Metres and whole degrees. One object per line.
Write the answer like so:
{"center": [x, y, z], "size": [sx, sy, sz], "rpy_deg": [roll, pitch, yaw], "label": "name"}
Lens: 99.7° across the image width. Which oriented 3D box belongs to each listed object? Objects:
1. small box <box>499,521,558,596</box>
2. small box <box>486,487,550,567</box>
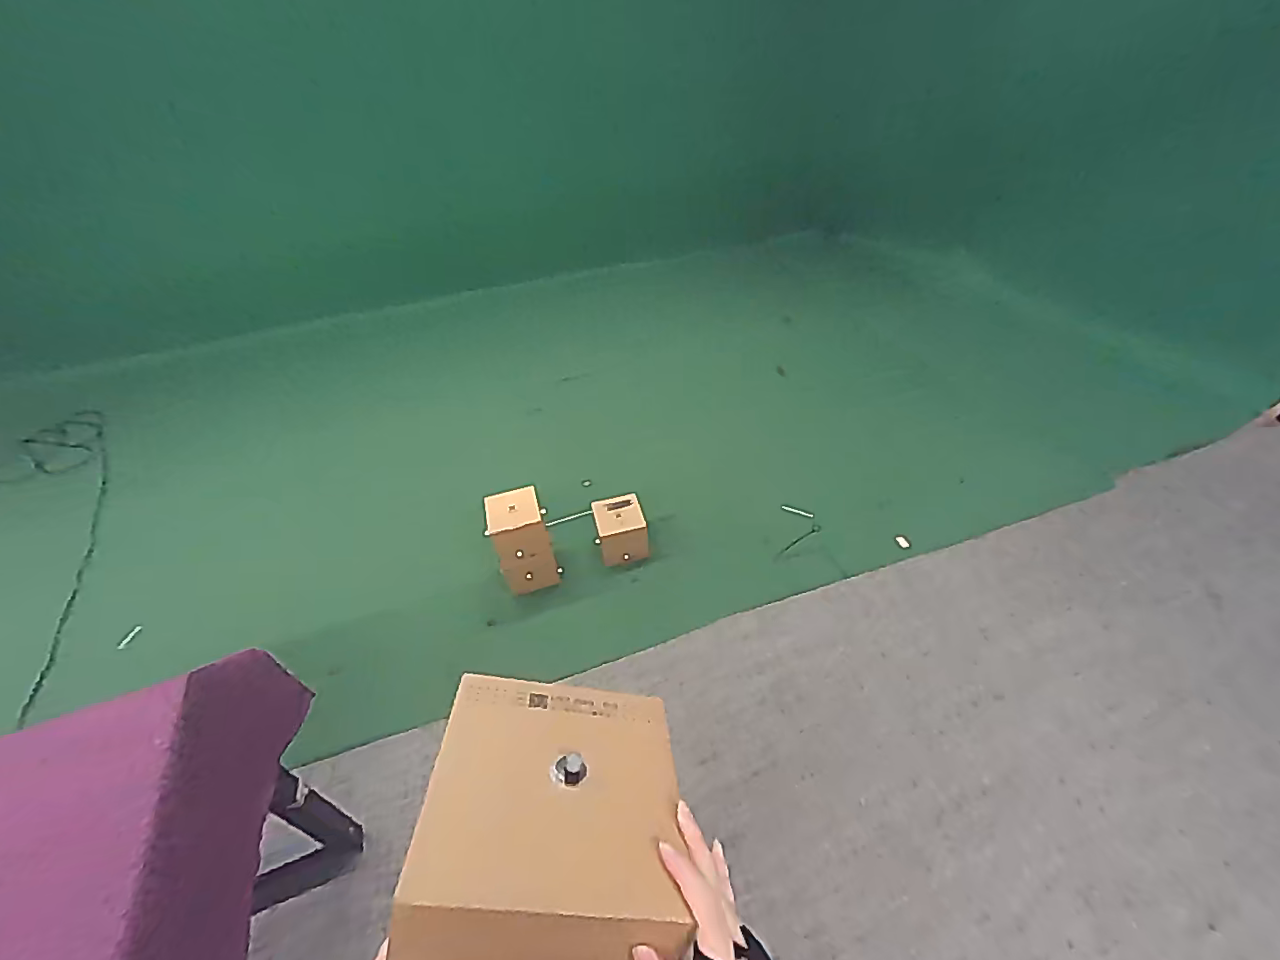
{"center": [-0.389, 0.273, 1.884], "size": [0.179, 0.176, 0.168], "rpy_deg": [-16, 42, -9], "label": "small box"}
{"center": [-0.400, 0.153, 1.774], "size": [0.168, 0.176, 0.179], "rpy_deg": [-15, 43, -10], "label": "small box"}
